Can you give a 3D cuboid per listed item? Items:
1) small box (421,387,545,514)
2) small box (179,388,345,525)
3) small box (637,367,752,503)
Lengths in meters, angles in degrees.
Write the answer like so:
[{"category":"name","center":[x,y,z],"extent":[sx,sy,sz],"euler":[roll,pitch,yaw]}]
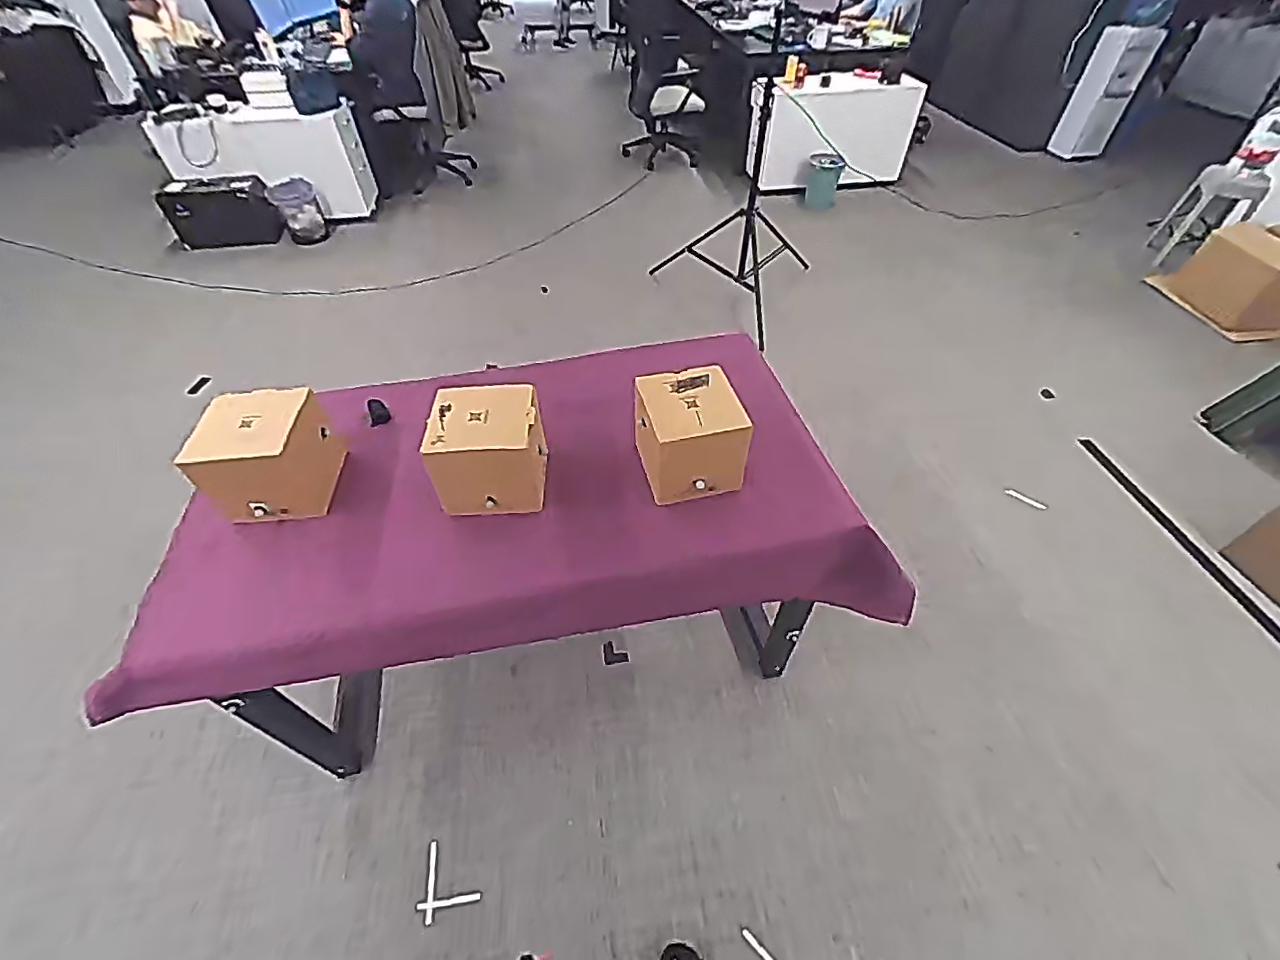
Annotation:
[{"category":"small box","center":[-0.271,-0.051,0.983],"extent":[0.179,0.176,0.168],"euler":[-2,48,-2]},{"category":"small box","center":[-0.663,-0.042,0.978],"extent":[0.168,0.176,0.179],"euler":[-6,49,-4]},{"category":"small box","center":[0.091,-0.083,1.006],"extent":[0.168,0.176,0.179],"euler":[-11,49,-8]}]
